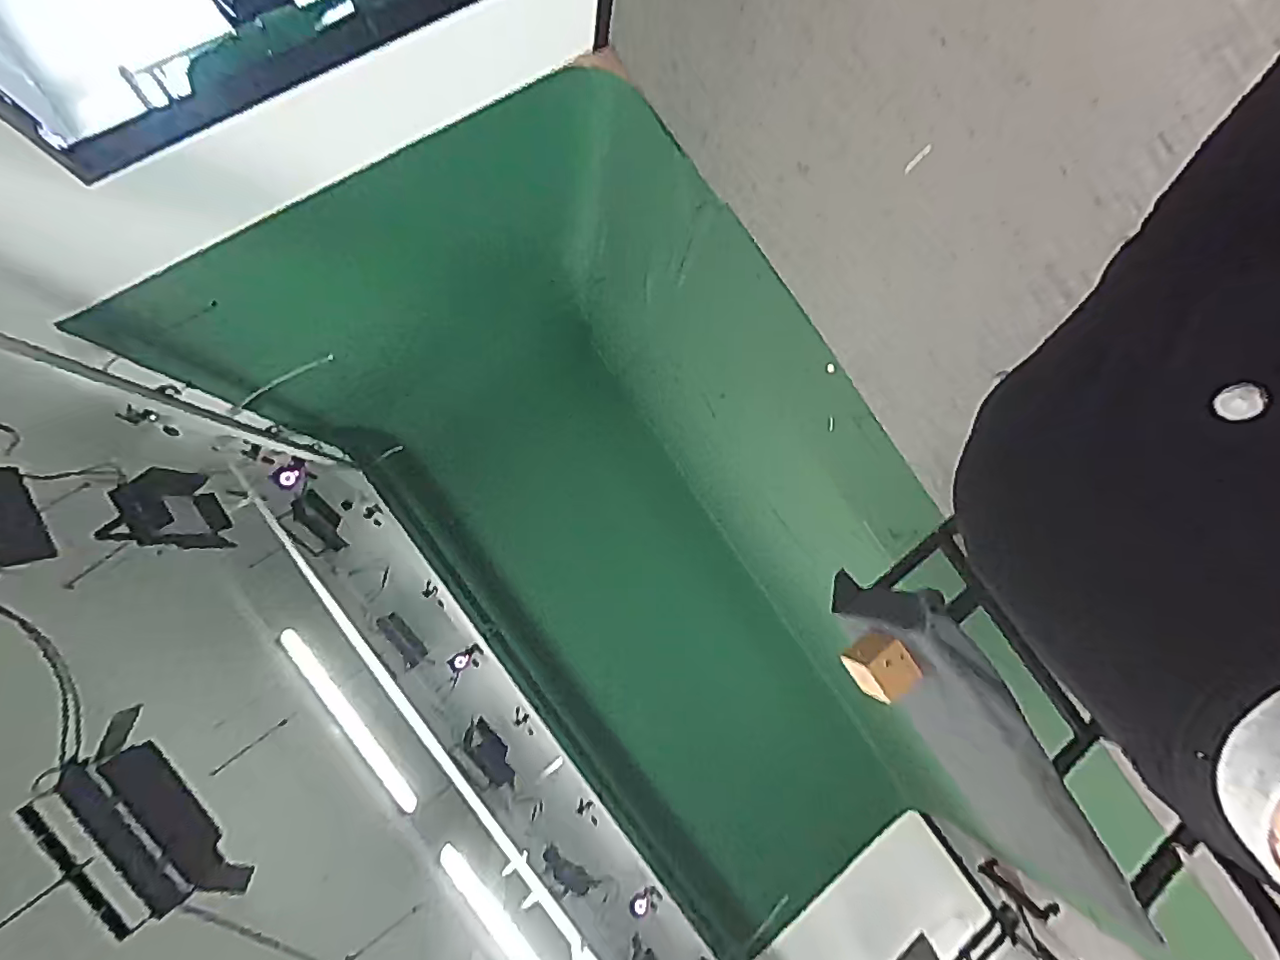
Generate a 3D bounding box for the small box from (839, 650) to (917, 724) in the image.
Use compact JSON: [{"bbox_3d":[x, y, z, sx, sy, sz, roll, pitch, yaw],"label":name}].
[{"bbox_3d":[0.880,0.752,1.986,0.168,0.176,0.179,57,169,-1],"label":"small box"}]
